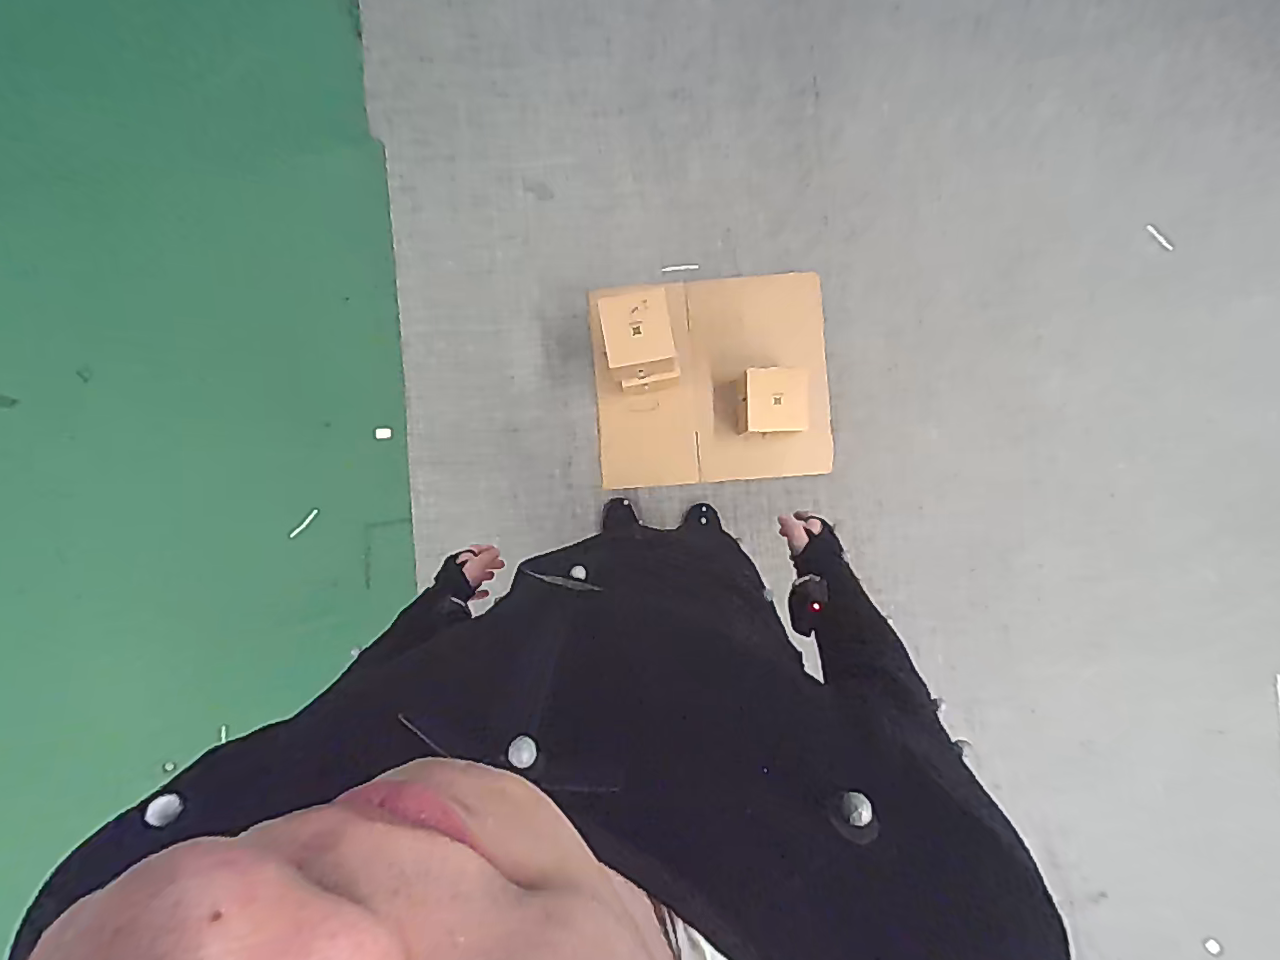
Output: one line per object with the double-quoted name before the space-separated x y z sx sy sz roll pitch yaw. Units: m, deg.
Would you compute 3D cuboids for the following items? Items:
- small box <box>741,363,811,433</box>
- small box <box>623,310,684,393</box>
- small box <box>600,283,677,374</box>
"small box" 0.378 -0.223 1.520 0.168 0.176 0.179 -1 89 2
"small box" 0.025 -0.359 1.534 0.168 0.176 0.179 -11 89 2
"small box" -0.001 -0.373 1.369 0.168 0.176 0.179 -9 89 1
